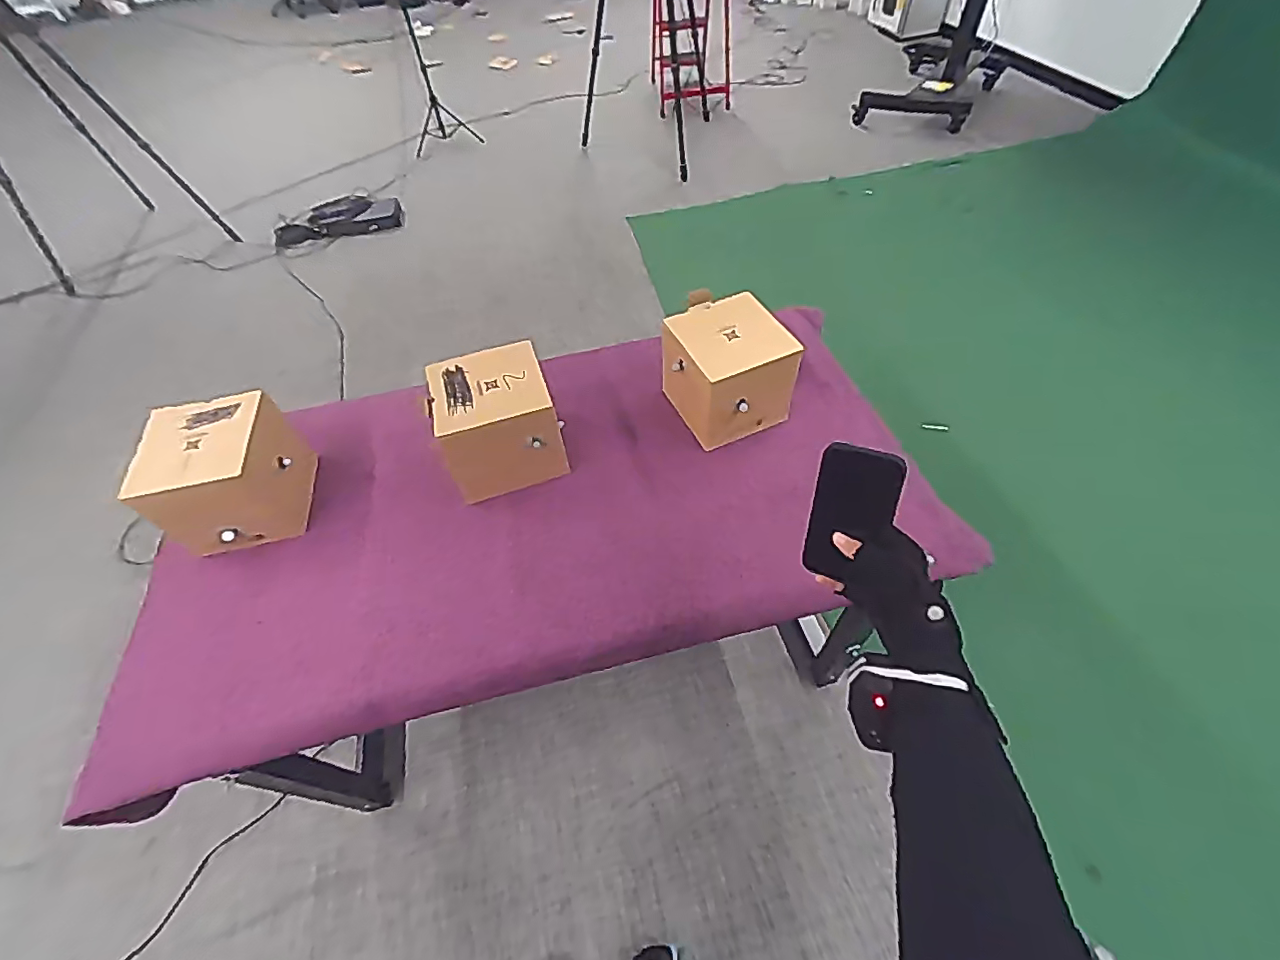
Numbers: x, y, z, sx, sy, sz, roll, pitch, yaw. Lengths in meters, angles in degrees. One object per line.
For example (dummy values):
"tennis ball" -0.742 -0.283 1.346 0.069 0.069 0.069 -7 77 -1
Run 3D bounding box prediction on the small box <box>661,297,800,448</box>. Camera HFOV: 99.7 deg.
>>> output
"small box" 0.147 -0.177 0.929 0.168 0.176 0.179 -21 54 -11

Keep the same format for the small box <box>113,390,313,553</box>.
"small box" -0.646 -0.011 0.848 0.168 0.176 0.179 -11 55 -5
